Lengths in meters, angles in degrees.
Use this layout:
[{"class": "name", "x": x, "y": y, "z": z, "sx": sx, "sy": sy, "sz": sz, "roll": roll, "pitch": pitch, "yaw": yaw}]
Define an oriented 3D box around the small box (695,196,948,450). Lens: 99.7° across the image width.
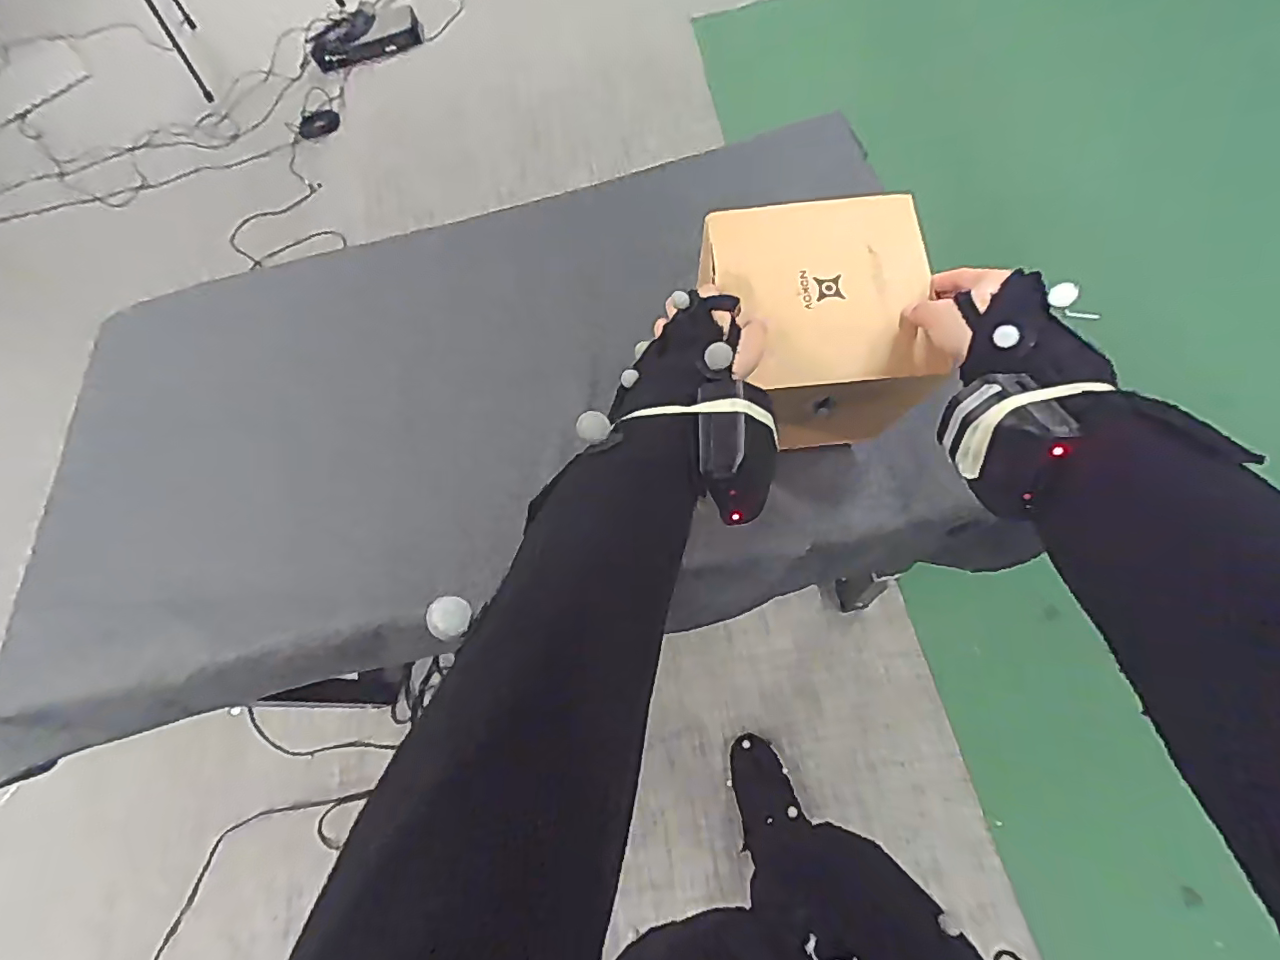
[{"class": "small box", "x": 0.146, "y": -0.132, "z": 0.511, "sx": 0.179, "sy": 0.176, "sz": 0.168, "roll": -5, "pitch": 76, "yaw": 0}]
